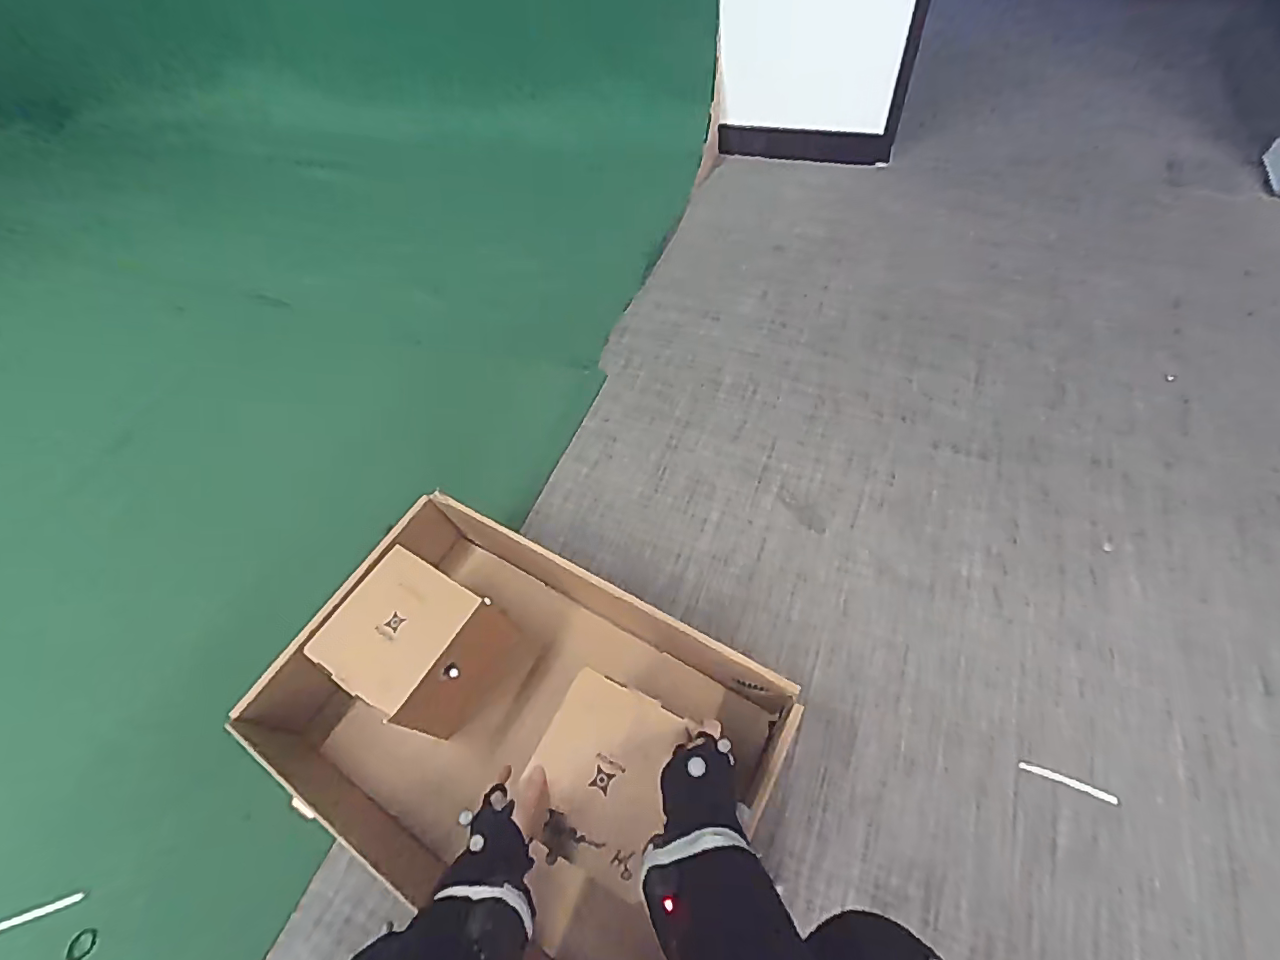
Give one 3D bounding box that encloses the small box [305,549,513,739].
[{"bbox_3d":[-0.306,0.235,0.757,0.168,0.176,0.179,26,64,21],"label":"small box"}]
